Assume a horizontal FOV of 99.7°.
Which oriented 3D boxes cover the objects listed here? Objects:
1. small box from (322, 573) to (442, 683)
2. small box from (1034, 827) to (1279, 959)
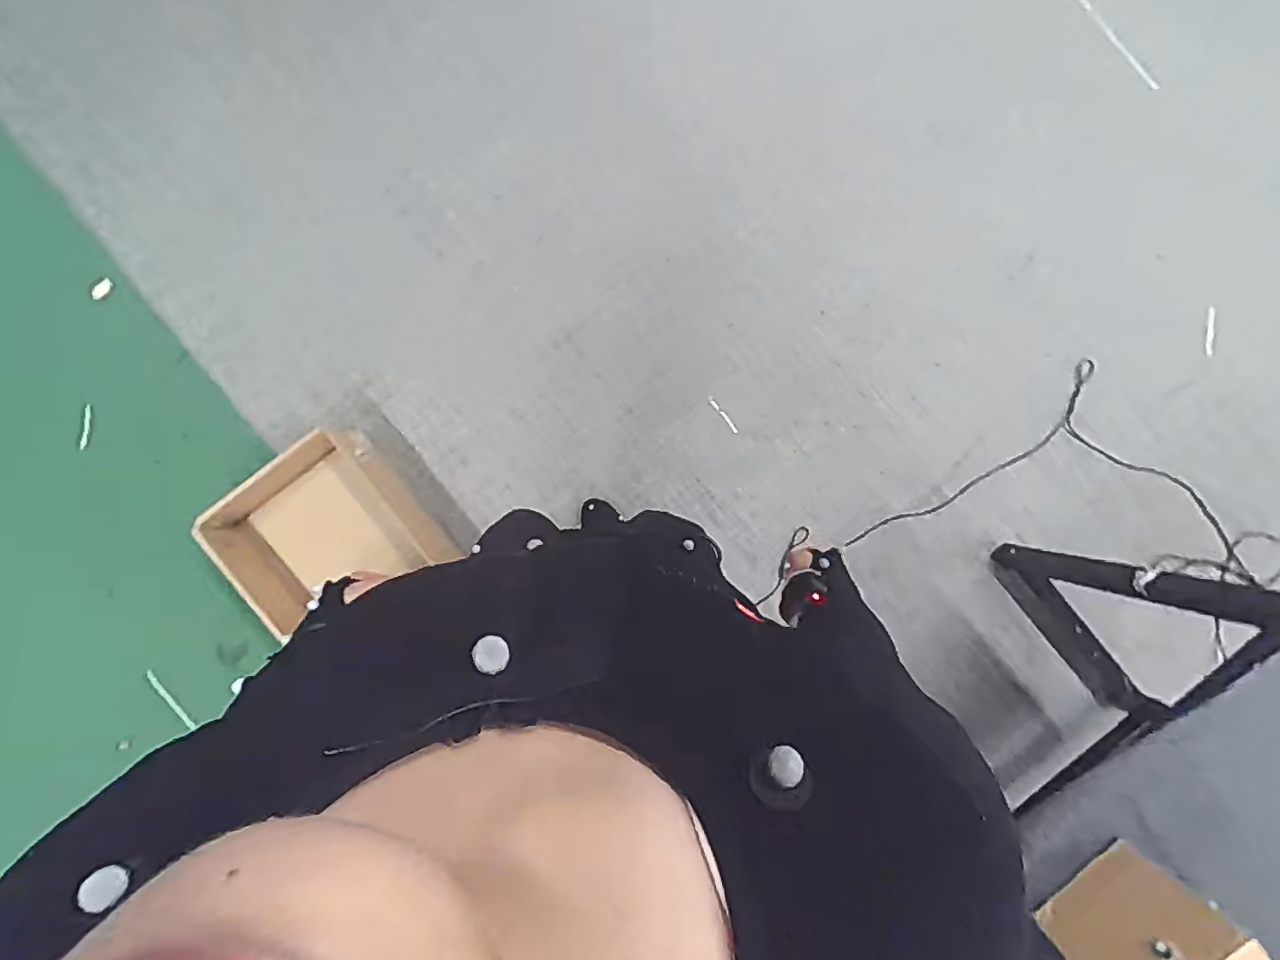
[{"bbox_3d":[-0.620,0.353,1.328,0.168,0.176,0.179,-37,92,-2],"label":"small box"},{"bbox_3d":[0.680,0.610,0.706,0.179,0.176,0.168,-40,93,0],"label":"small box"}]
